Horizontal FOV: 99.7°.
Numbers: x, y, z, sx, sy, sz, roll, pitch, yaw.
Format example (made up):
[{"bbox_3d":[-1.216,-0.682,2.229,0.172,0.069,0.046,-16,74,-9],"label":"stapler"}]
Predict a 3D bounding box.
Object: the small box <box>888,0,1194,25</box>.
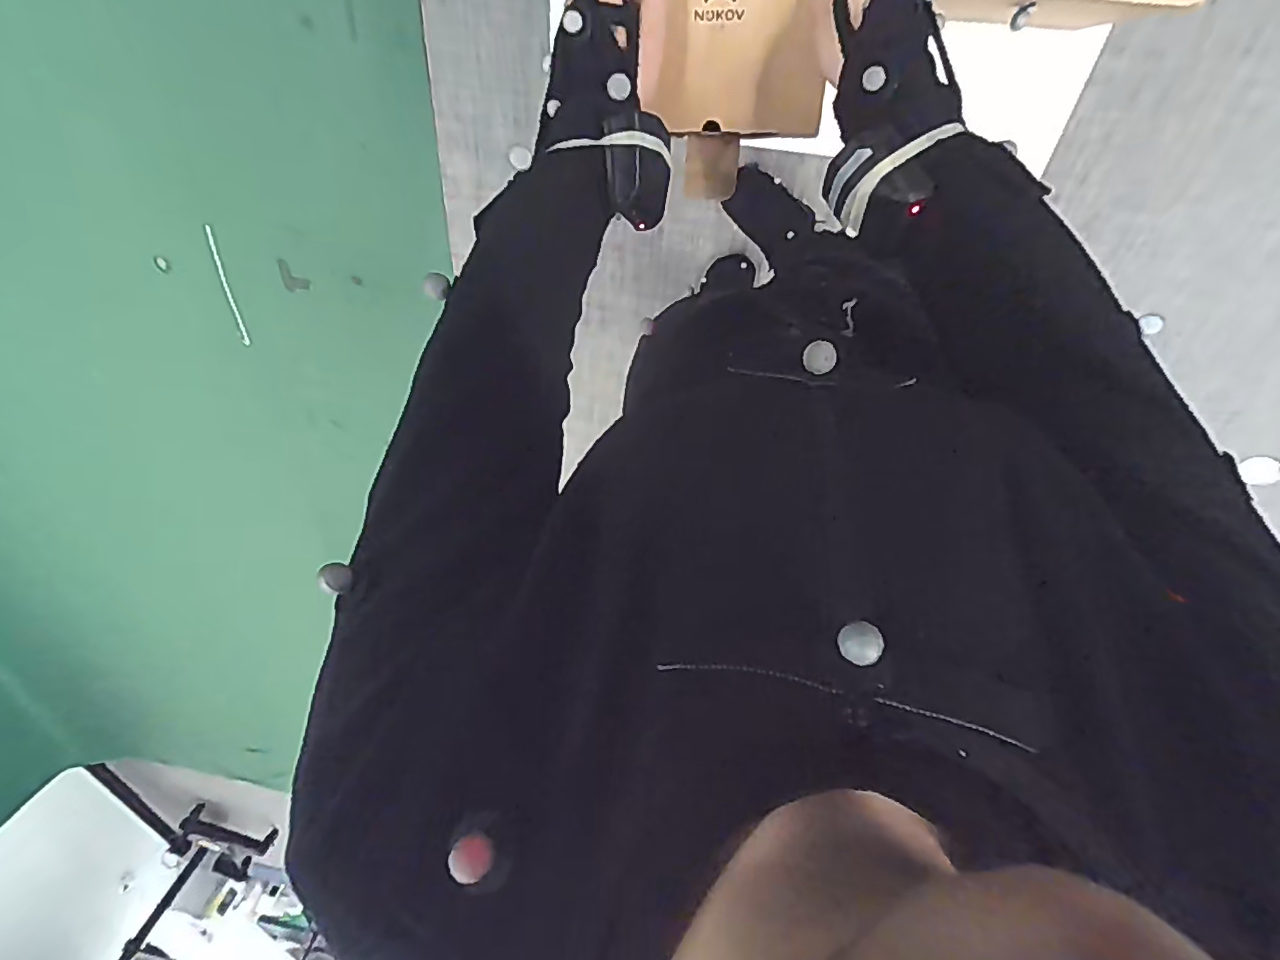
[{"bbox_3d":[0.292,-0.428,0.369,0.179,0.176,0.168,9,127,6],"label":"small box"}]
